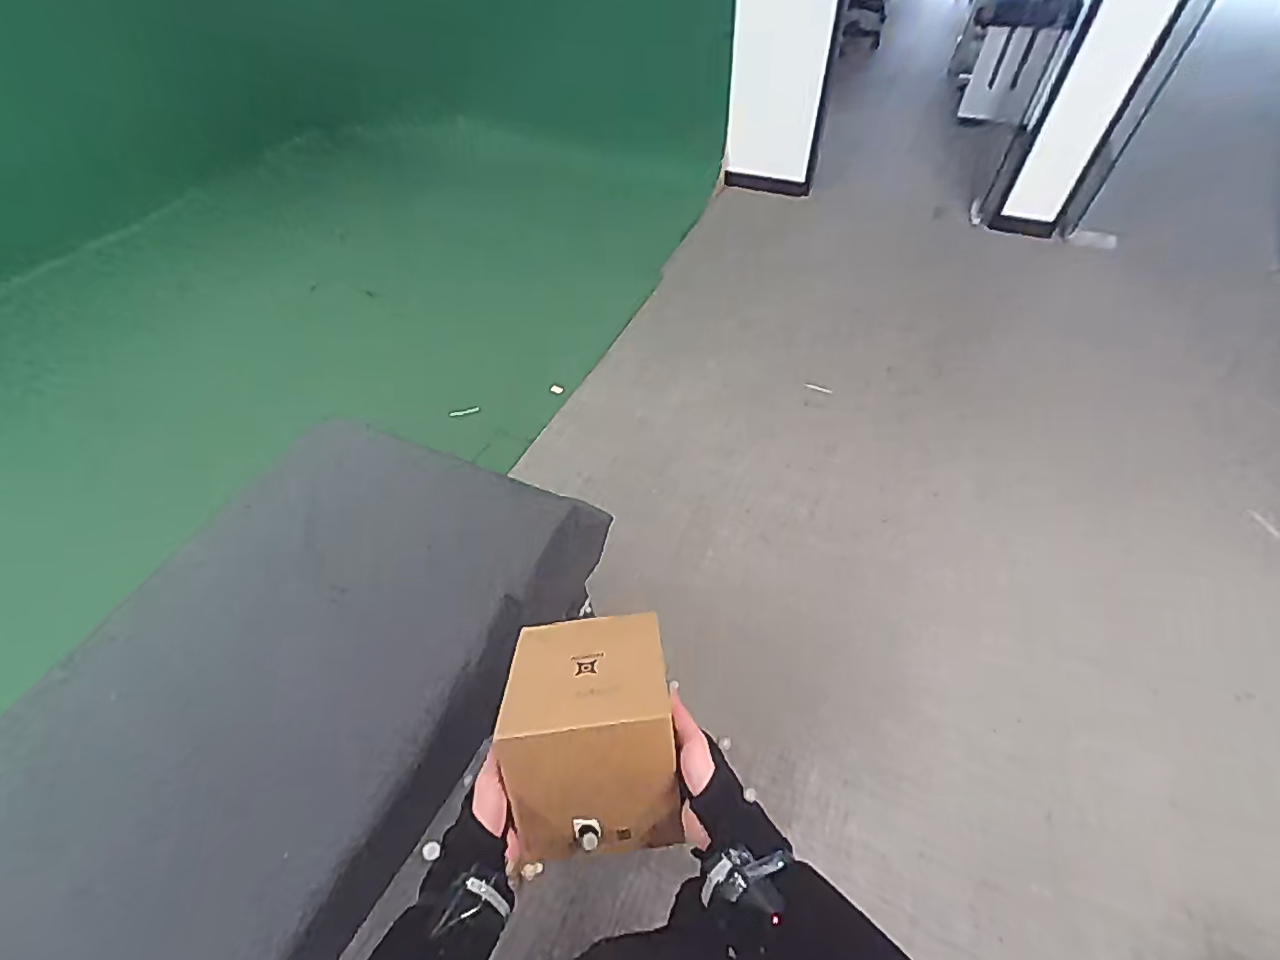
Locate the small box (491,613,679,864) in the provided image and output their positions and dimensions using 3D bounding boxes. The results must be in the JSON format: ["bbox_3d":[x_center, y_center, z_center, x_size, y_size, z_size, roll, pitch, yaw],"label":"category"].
[{"bbox_3d":[-0.051,0.273,0.595,0.168,0.176,0.179,-7,20,-1],"label":"small box"}]
